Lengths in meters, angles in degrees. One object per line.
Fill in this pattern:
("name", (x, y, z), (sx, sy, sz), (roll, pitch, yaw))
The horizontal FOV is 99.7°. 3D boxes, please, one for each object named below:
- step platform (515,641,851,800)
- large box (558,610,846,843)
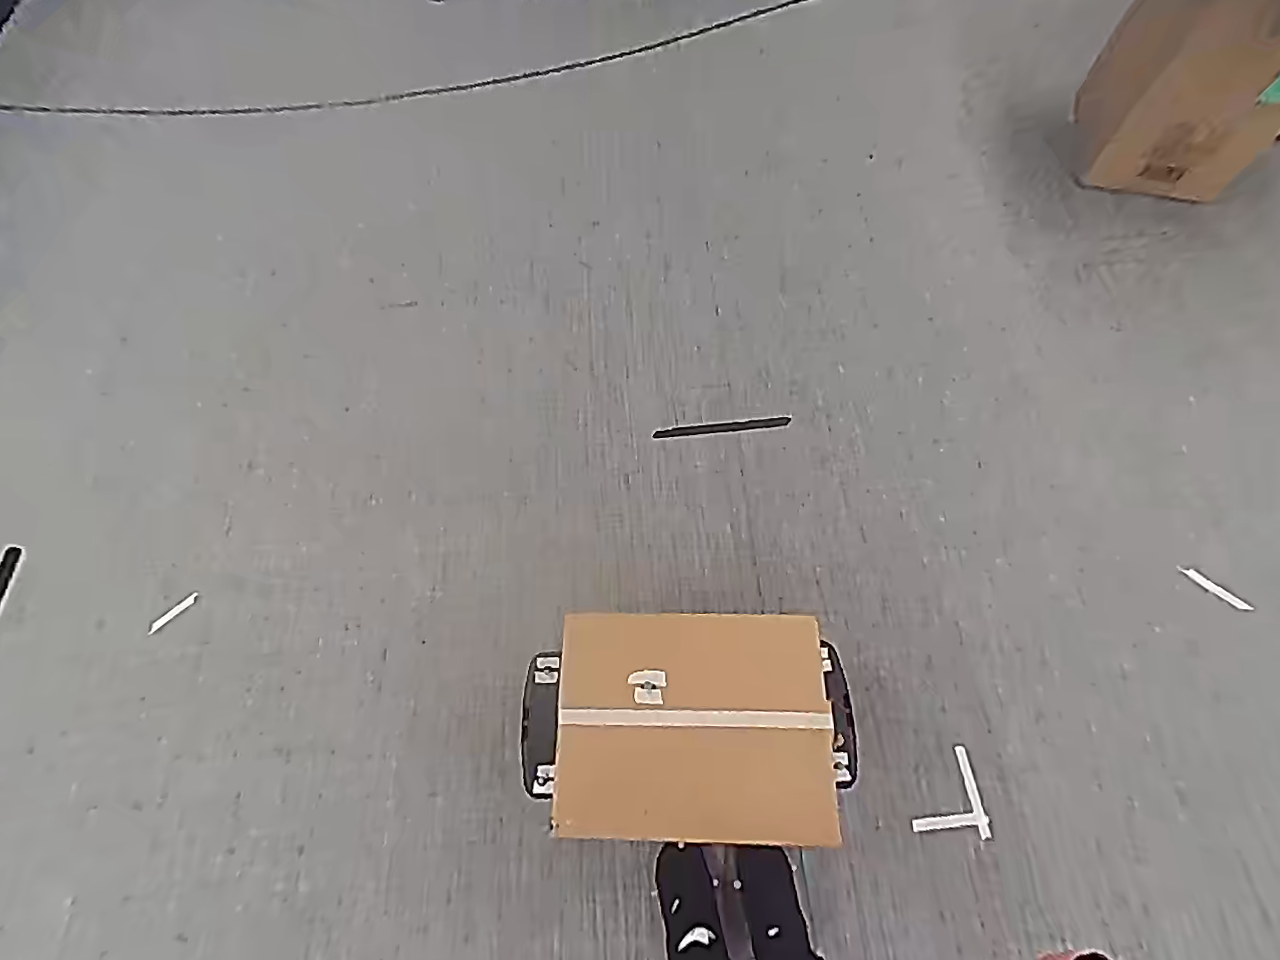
("step platform", (0.086, 0.507, 1.155), (0.684, 0.204, 0.286), (1, 67, 5))
("large box", (0.096, 0.409, 0.936), (0.408, 0.320, 0.320), (-1, 66, 5))
